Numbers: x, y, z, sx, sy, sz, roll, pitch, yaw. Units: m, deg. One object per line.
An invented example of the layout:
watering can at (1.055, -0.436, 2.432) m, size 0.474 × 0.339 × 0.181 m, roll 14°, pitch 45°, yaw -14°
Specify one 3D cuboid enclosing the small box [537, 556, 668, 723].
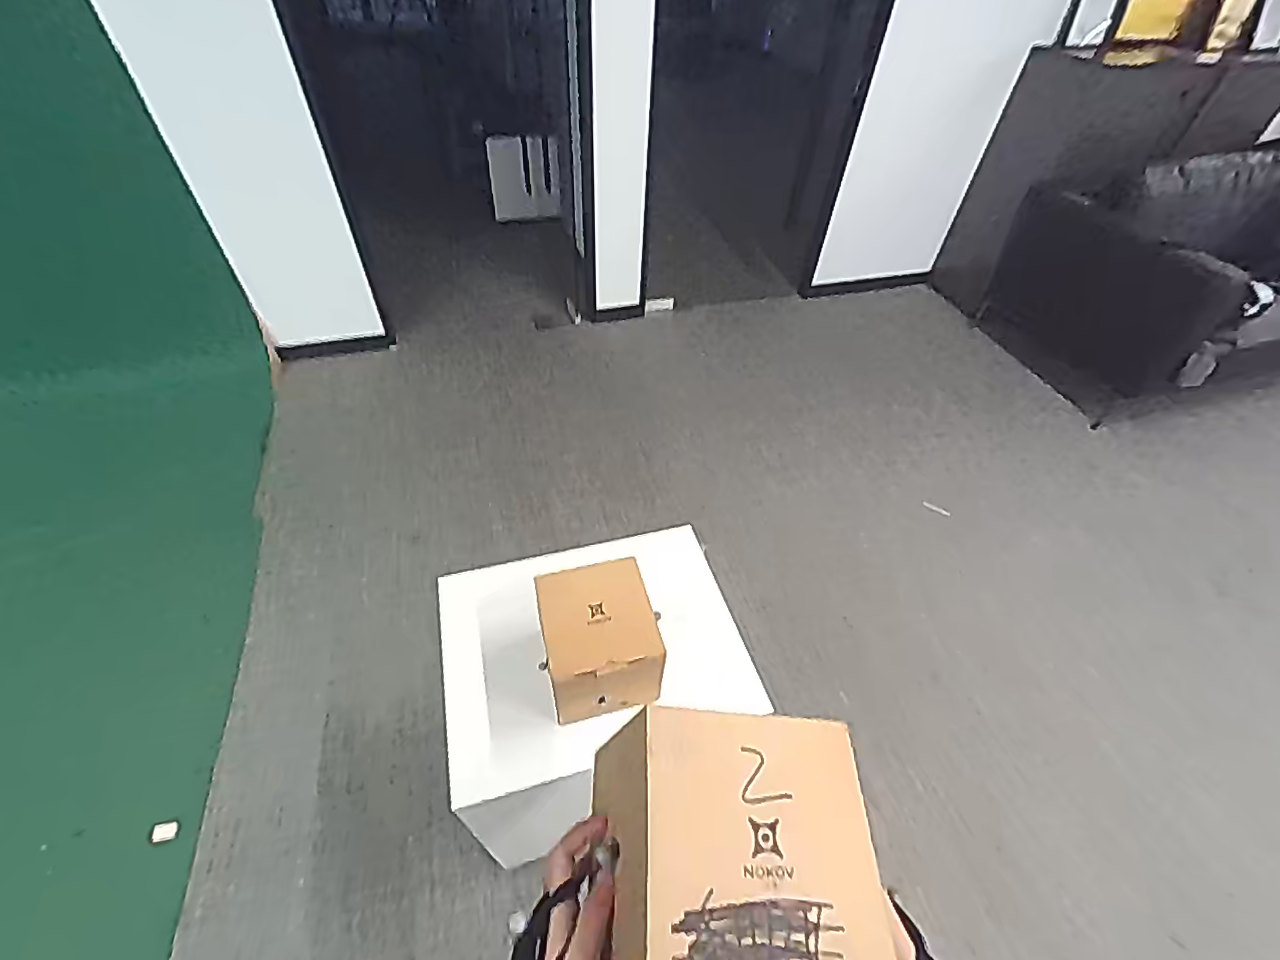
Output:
small box at (-0.065, 0.249, 0.849) m, size 0.168 × 0.176 × 0.179 m, roll -10°, pitch 47°, yaw -13°
